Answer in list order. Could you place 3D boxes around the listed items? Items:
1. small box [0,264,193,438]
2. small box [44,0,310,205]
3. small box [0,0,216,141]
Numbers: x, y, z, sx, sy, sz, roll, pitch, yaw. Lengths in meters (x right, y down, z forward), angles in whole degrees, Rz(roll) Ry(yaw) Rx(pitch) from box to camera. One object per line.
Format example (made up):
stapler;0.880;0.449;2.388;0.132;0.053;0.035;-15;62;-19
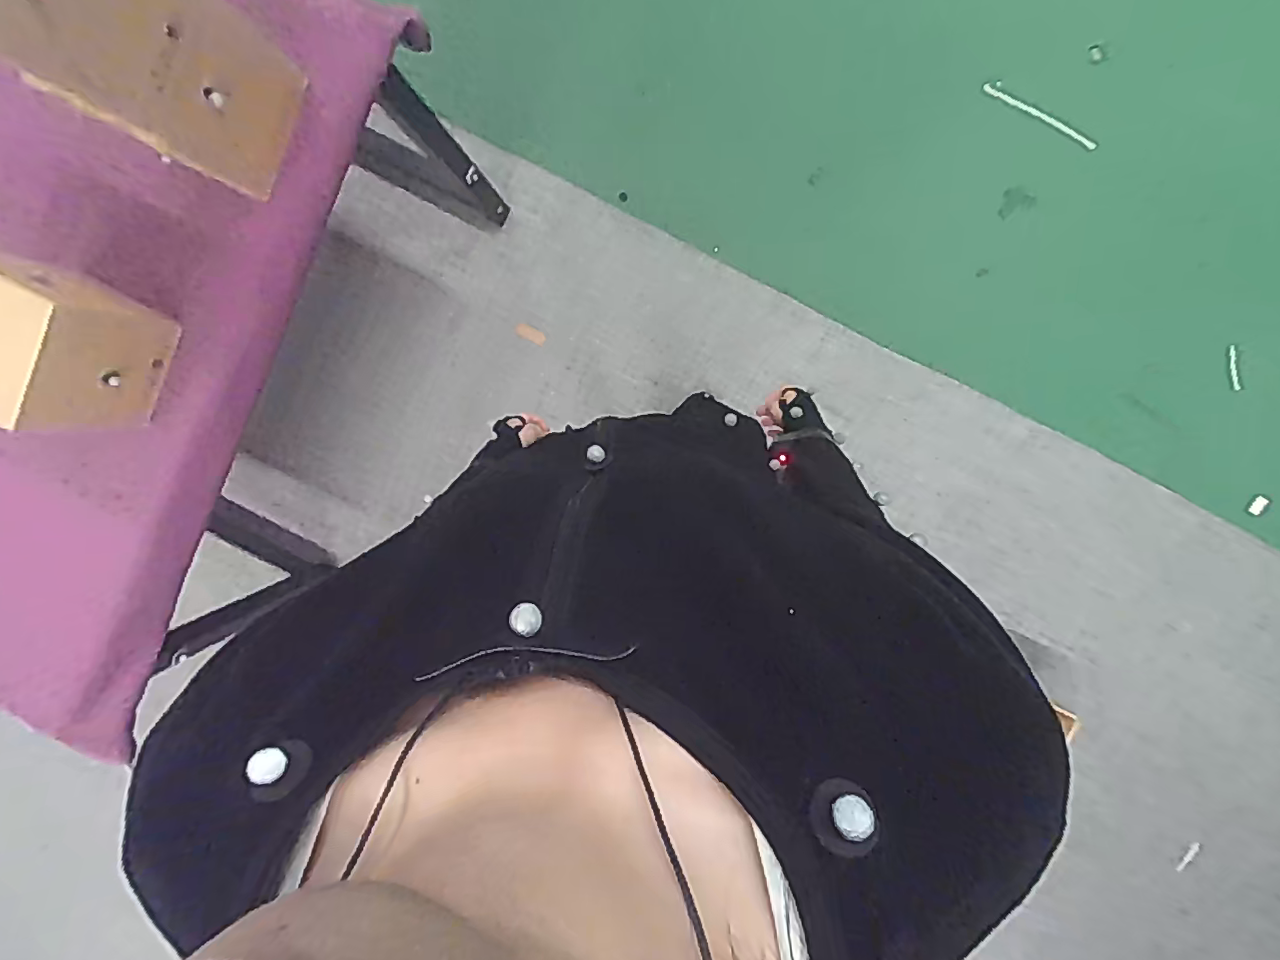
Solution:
small box;-0.764;-0.171;0.726;0.179;0.176;0.168;27;98;1
small box;-0.553;-0.483;0.672;0.168;0.176;0.179;26;100;0
small box;-0.565;-0.463;0.509;0.179;0.176;0.168;27;101;0
